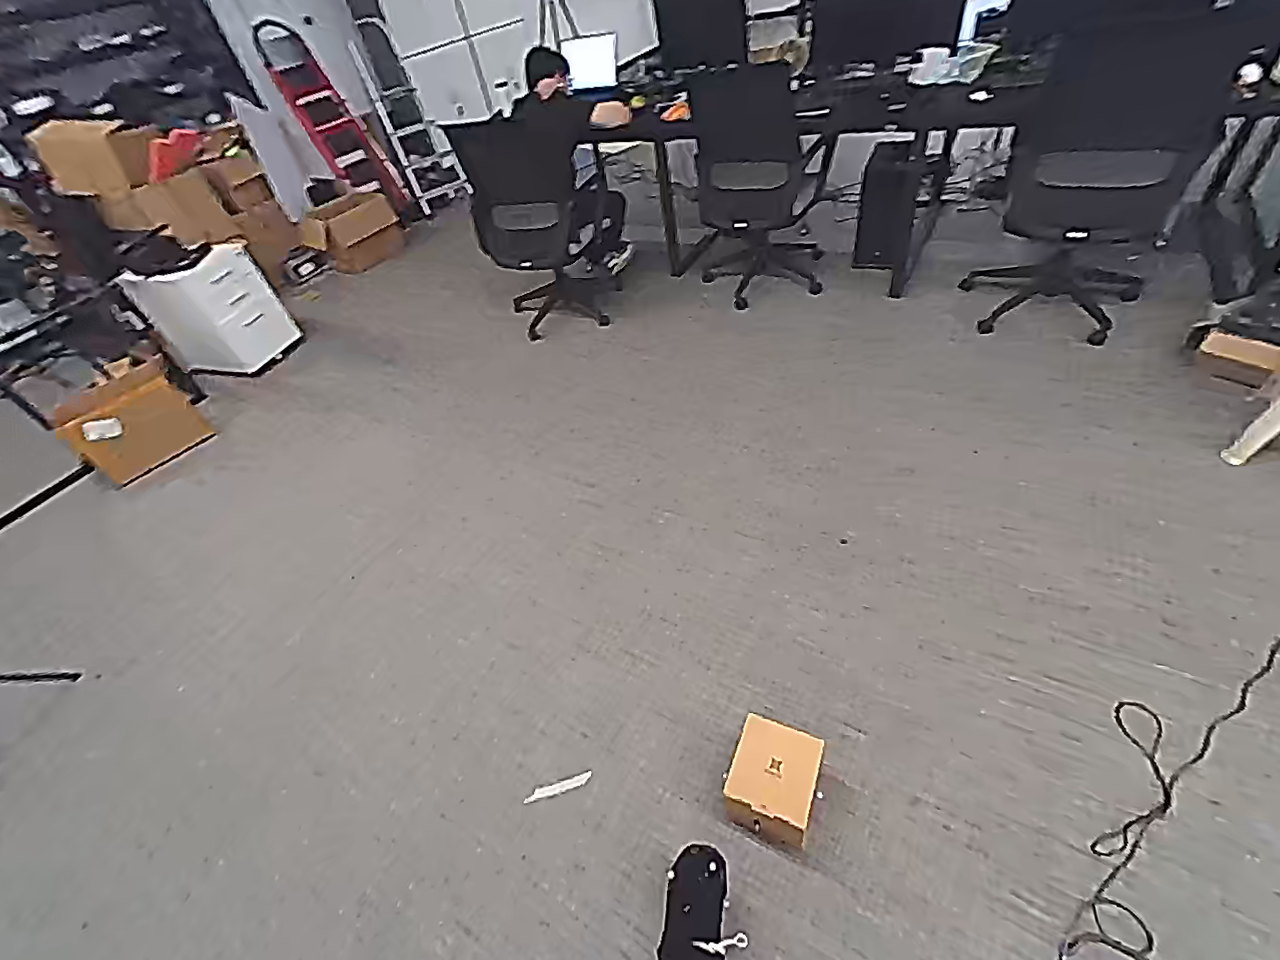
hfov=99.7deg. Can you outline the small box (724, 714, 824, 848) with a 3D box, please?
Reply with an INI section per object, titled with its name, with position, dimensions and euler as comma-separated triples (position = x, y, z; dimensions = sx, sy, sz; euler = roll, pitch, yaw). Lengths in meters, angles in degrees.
[small box]
position = 0.286, 0.640, 1.150
dimensions = 0.168, 0.176, 0.179
euler = 11, 50, 24
